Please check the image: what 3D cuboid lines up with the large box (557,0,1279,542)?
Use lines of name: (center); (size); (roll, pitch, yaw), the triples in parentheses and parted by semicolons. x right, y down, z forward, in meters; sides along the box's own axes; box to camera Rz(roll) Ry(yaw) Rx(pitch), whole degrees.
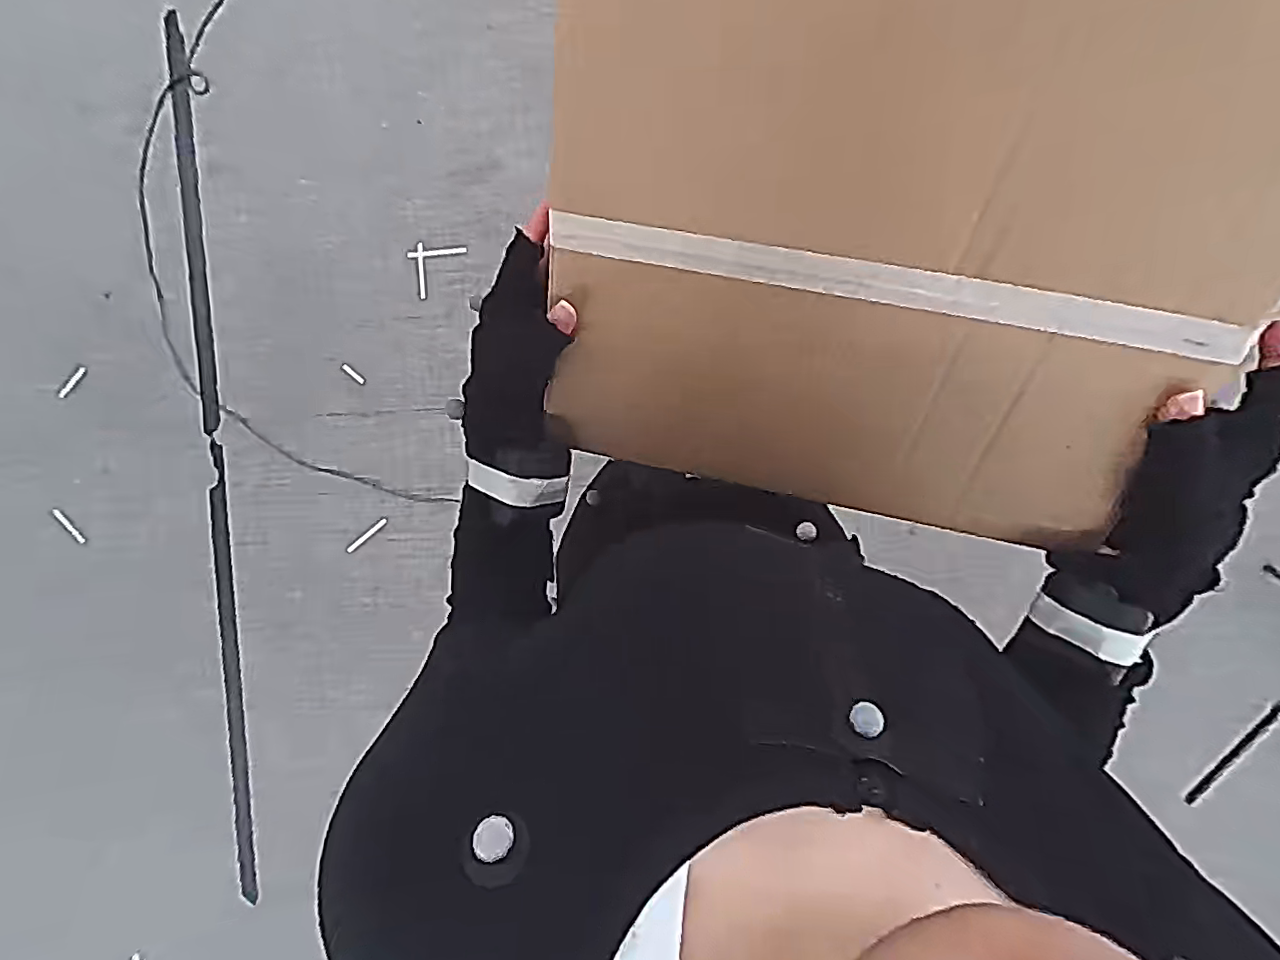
large box: (0.169, -0.195, 0.455); (0.408, 0.320, 0.320); (12, 124, 5)
